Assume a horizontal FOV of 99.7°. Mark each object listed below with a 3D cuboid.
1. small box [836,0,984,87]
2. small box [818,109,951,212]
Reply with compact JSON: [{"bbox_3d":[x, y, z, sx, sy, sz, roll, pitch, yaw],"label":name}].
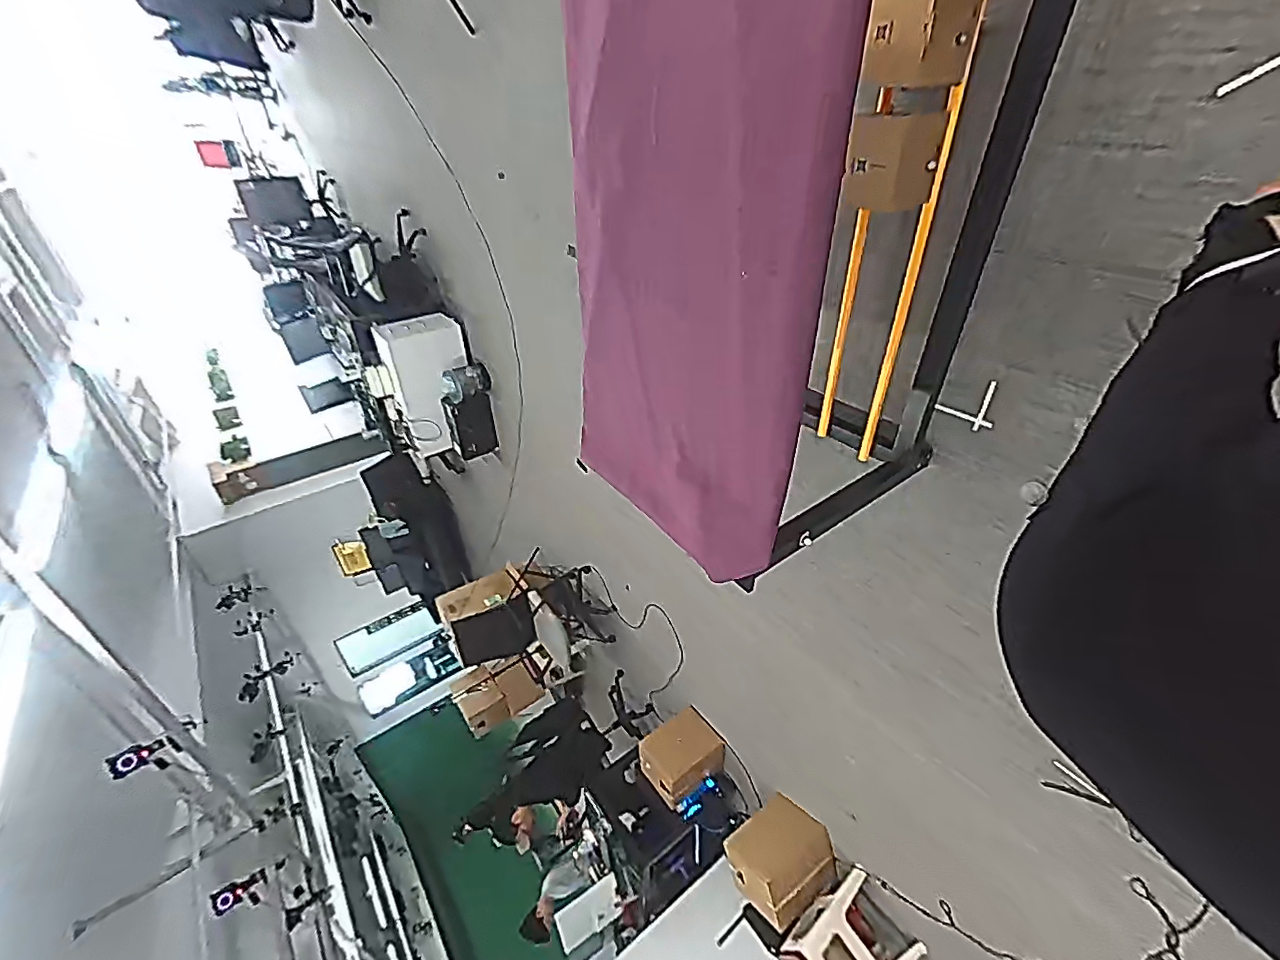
[{"bbox_3d":[0.501,-0.837,1.009,0.179,0.176,0.168,35,139,41],"label":"small box"},{"bbox_3d":[0.506,-0.671,1.132,0.179,0.176,0.168,34,140,40],"label":"small box"}]
